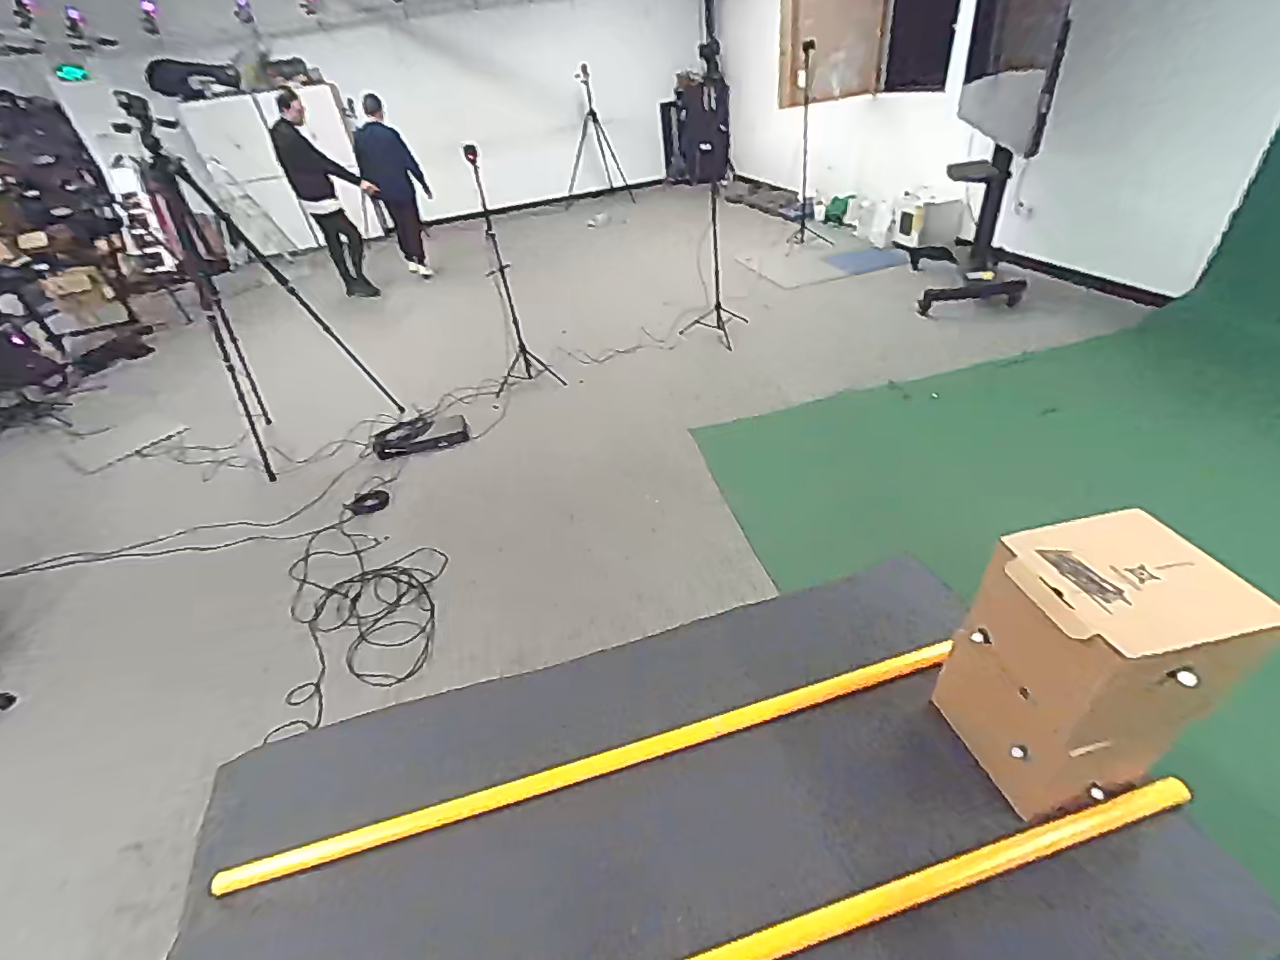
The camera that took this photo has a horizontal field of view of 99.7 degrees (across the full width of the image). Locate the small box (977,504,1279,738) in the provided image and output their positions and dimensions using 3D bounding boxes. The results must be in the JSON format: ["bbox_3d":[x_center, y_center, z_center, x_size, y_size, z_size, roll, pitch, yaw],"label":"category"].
[{"bbox_3d":[0.505,0.154,0.591,0.179,0.176,0.168,-11,38,-4],"label":"small box"}]
